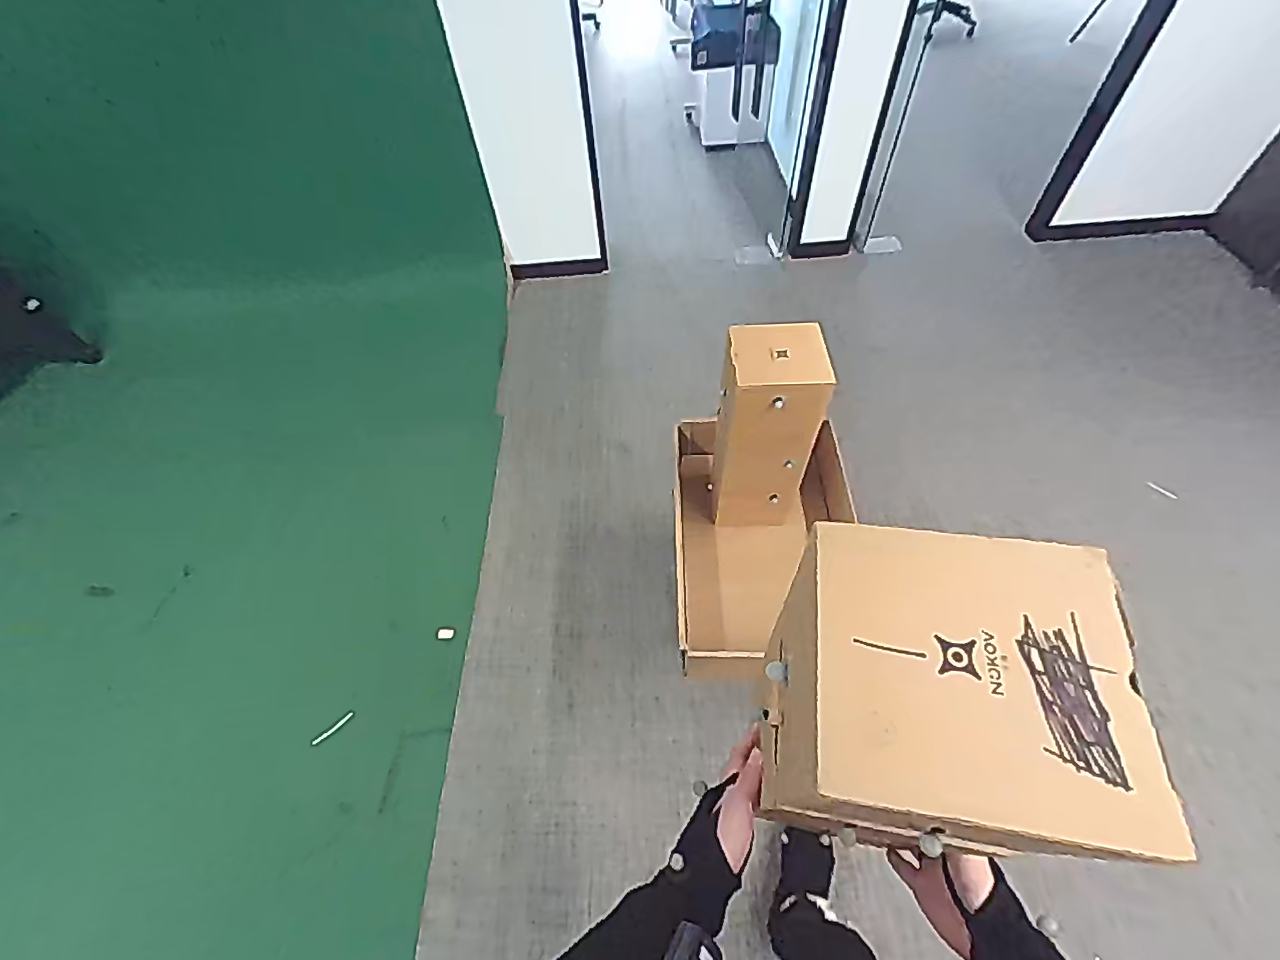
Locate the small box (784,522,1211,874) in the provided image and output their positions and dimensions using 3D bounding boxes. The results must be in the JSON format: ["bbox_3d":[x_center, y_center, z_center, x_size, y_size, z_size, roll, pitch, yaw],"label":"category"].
[{"bbox_3d":[0.204,0.148,0.374,0.179,0.176,0.168,6,58,10],"label":"small box"}]

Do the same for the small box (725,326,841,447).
[{"bbox_3d":[0.265,-0.177,1.047,0.179,0.176,0.168,-2,54,2],"label":"small box"}]

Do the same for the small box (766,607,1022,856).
[{"bbox_3d":[0.217,0.238,0.511,0.179,0.176,0.168,6,59,11],"label":"small box"}]

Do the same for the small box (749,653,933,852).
[{"bbox_3d":[0.231,0.327,0.648,0.179,0.176,0.168,9,59,11],"label":"small box"}]
